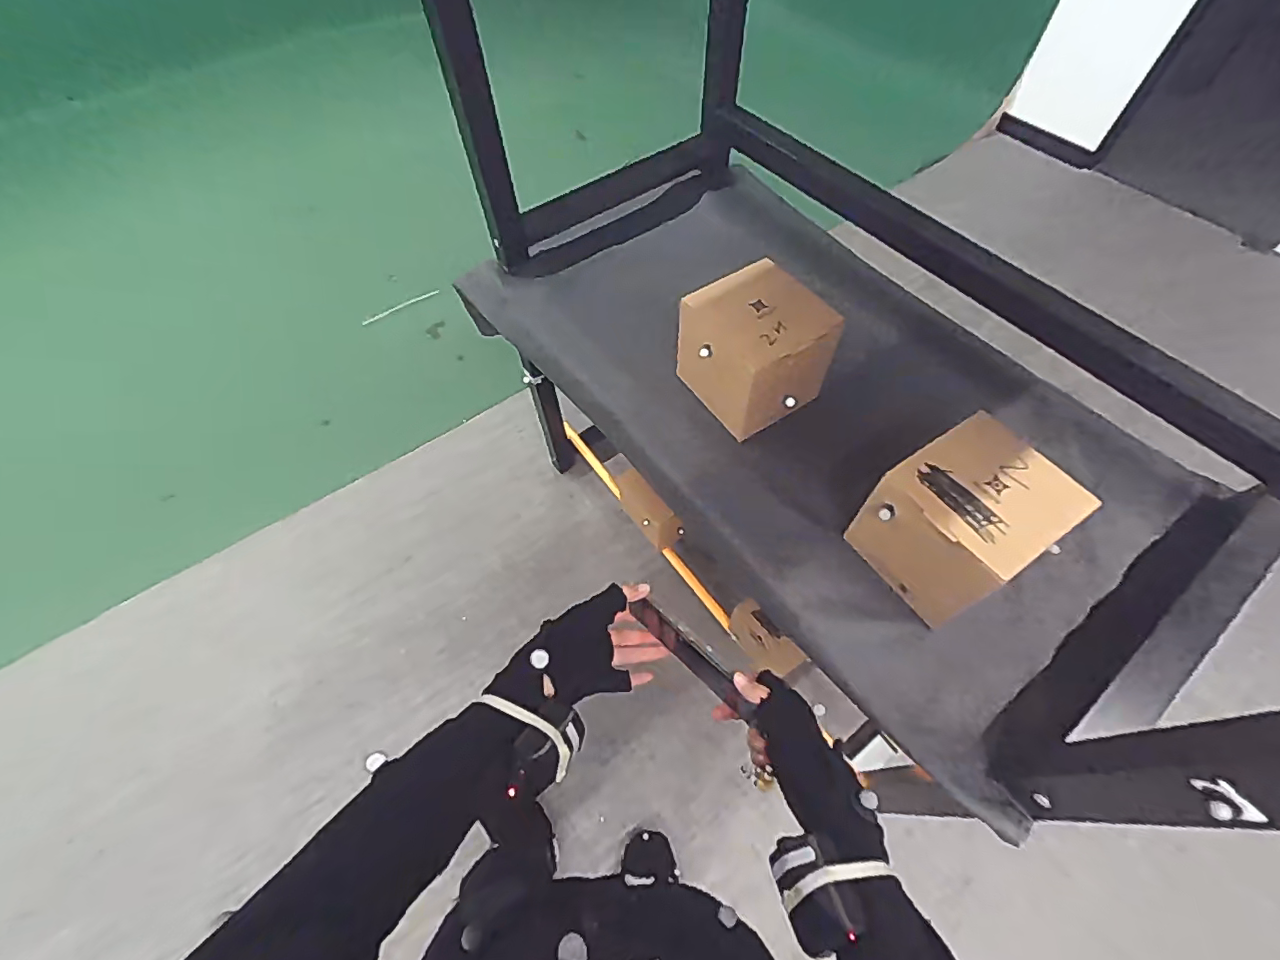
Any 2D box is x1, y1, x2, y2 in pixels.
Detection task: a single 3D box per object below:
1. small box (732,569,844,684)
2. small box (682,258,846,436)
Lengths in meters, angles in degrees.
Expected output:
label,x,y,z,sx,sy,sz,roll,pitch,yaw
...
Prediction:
label,x,y,z,sx,sy,sz,roll,pitch,yaw
small box,0.325,0.340,1.234,0.179,0.176,0.168,-30,63,-15
small box,0.177,-0.202,0.837,0.168,0.176,0.179,-30,62,-15
